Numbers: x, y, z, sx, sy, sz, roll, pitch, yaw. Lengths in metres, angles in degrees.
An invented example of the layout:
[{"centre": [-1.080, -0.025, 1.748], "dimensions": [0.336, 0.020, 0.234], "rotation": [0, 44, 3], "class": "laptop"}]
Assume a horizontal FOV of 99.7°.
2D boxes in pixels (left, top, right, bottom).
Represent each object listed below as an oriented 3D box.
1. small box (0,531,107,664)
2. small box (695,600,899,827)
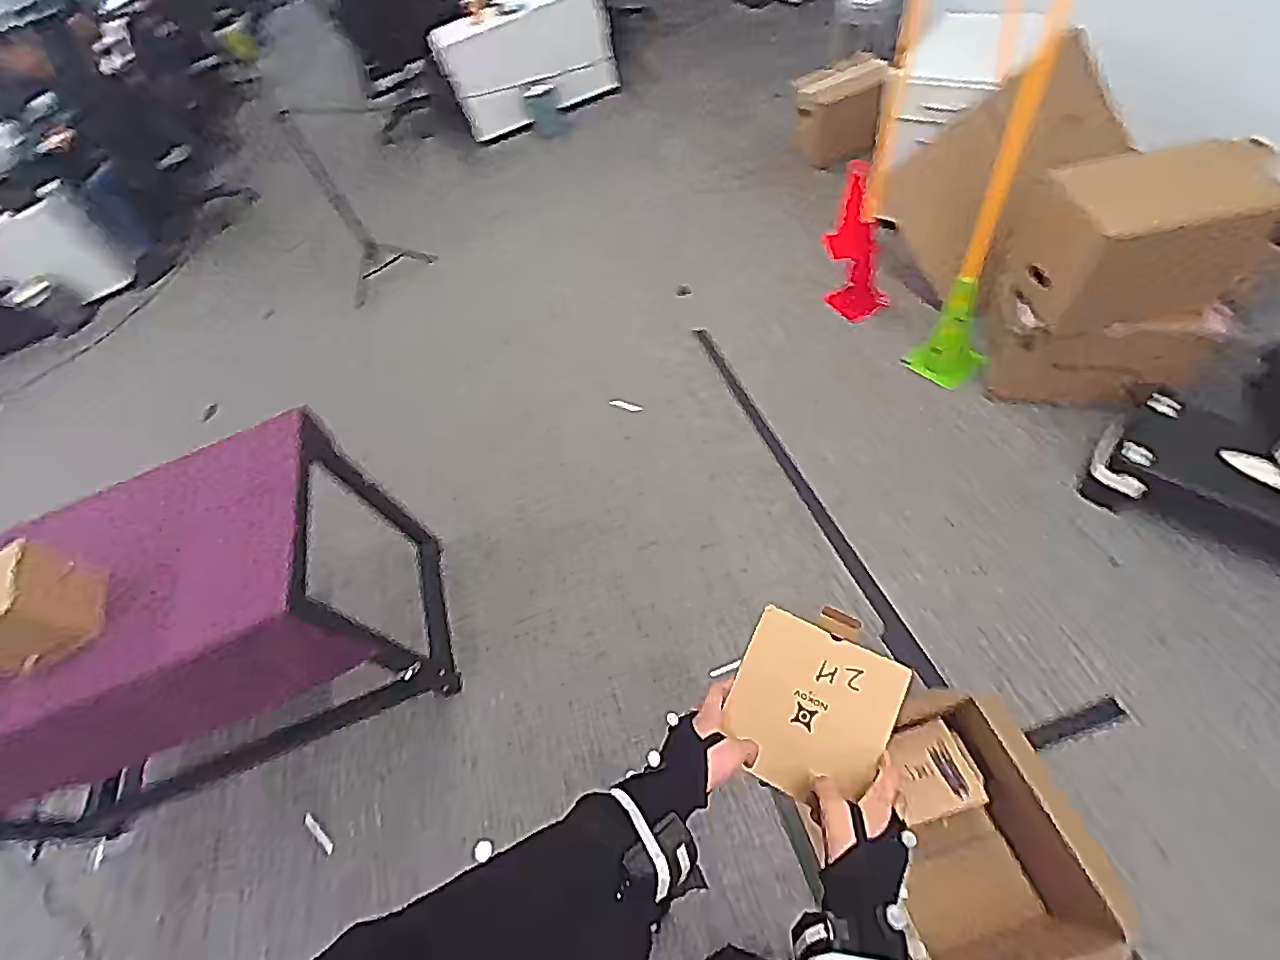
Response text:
[{"centre": [-1.247, 0.243, 1.098], "dimensions": [0.168, 0.176, 0.179], "rotation": [-31, 55, -6], "class": "small box"}, {"centre": [0.181, 0.268, 0.652], "dimensions": [0.168, 0.176, 0.179], "rotation": [23, 75, 16], "class": "small box"}]
